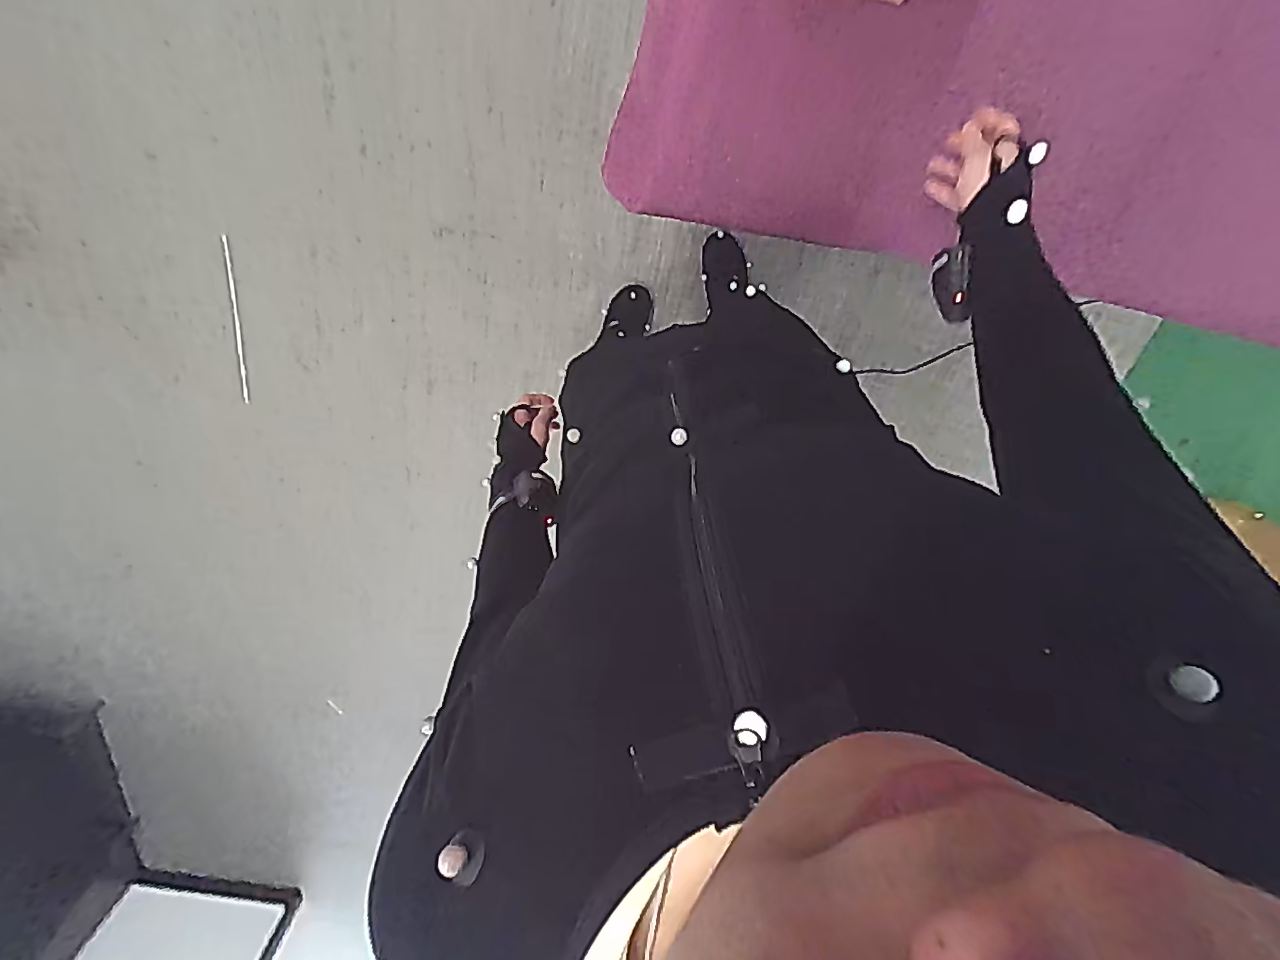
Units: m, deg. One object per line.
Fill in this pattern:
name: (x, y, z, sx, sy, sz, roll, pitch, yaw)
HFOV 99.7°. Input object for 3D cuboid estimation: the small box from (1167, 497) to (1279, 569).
small box: (1.787, 0.165, 1.645, 0.179, 0.176, 0.168, 9, 115, -3)

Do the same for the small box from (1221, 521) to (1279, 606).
small box: (1.798, 0.238, 1.500, 0.168, 0.176, 0.179, 9, 115, -4)
